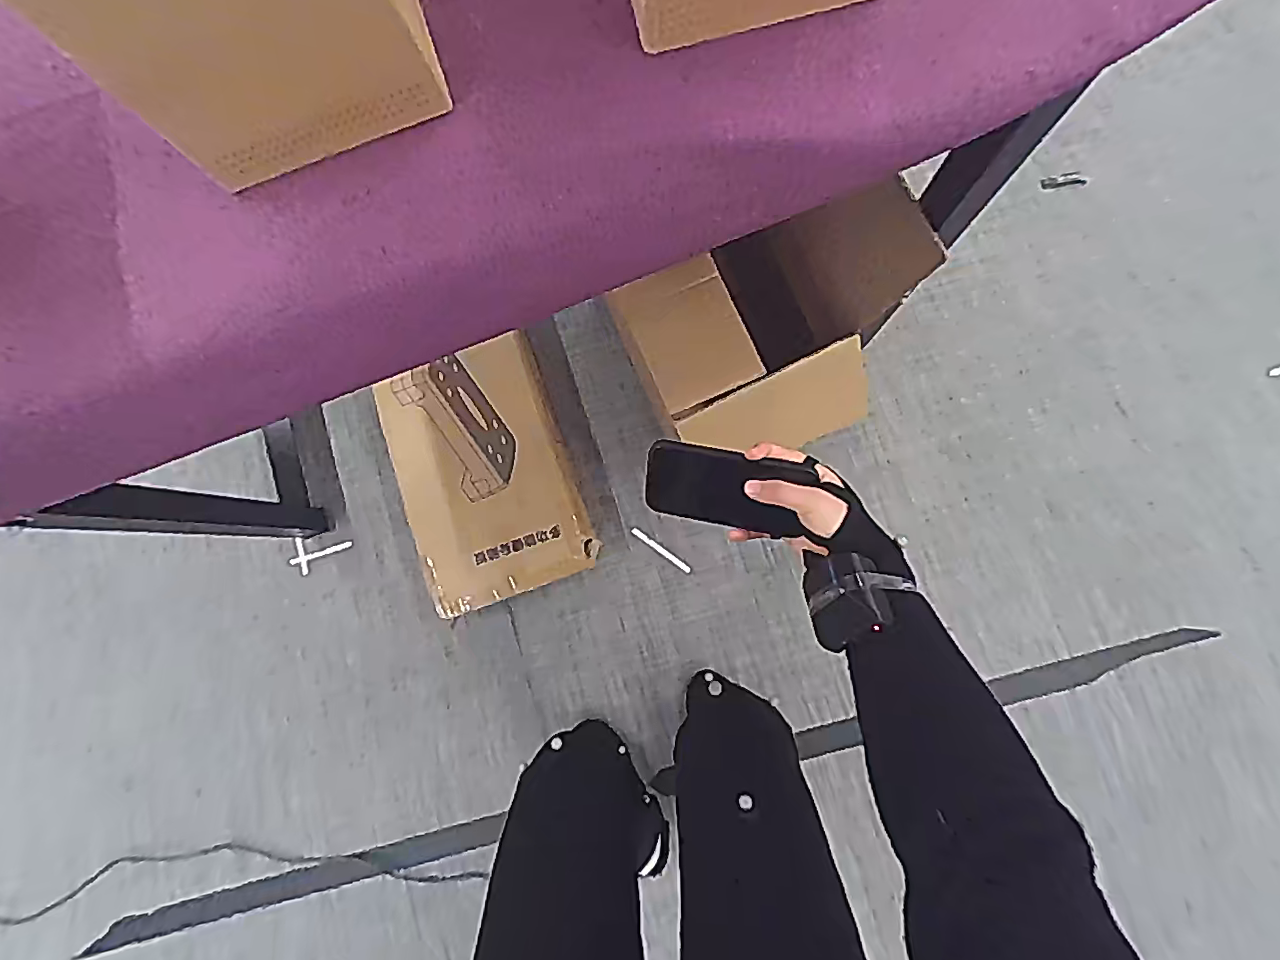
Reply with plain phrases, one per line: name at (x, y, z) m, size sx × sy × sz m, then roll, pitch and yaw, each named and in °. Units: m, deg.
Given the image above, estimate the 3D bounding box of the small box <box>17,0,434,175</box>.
small box at (-0.244, -0.328, 0.320) m, size 0.179 × 0.176 × 0.168 m, roll -20°, pitch 79°, yaw 1°

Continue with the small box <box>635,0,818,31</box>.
small box at (0.063, -0.412, 0.309) m, size 0.179 × 0.176 × 0.168 m, roll -13°, pitch 81°, yaw 2°
